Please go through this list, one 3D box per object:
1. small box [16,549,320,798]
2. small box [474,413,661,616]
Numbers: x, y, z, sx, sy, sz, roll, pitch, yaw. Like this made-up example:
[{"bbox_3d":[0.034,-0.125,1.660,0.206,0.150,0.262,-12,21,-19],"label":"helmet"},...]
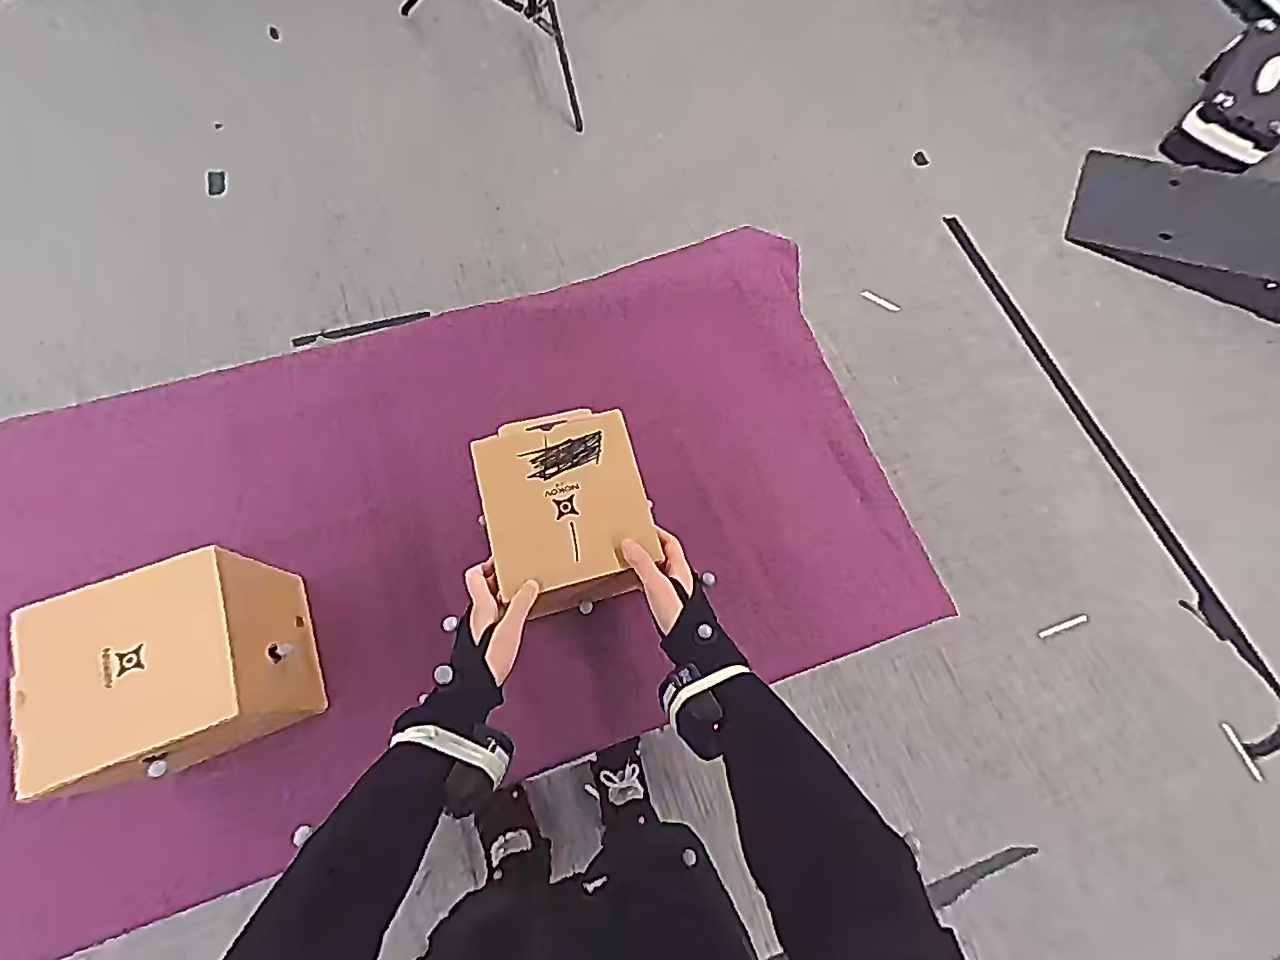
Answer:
[{"bbox_3d":[-0.461,0.190,0.558,0.179,0.176,0.168,-20,72,-10],"label":"small box"},{"bbox_3d":[-0.083,0.048,0.633,0.168,0.176,0.179,-14,73,-8],"label":"small box"}]
